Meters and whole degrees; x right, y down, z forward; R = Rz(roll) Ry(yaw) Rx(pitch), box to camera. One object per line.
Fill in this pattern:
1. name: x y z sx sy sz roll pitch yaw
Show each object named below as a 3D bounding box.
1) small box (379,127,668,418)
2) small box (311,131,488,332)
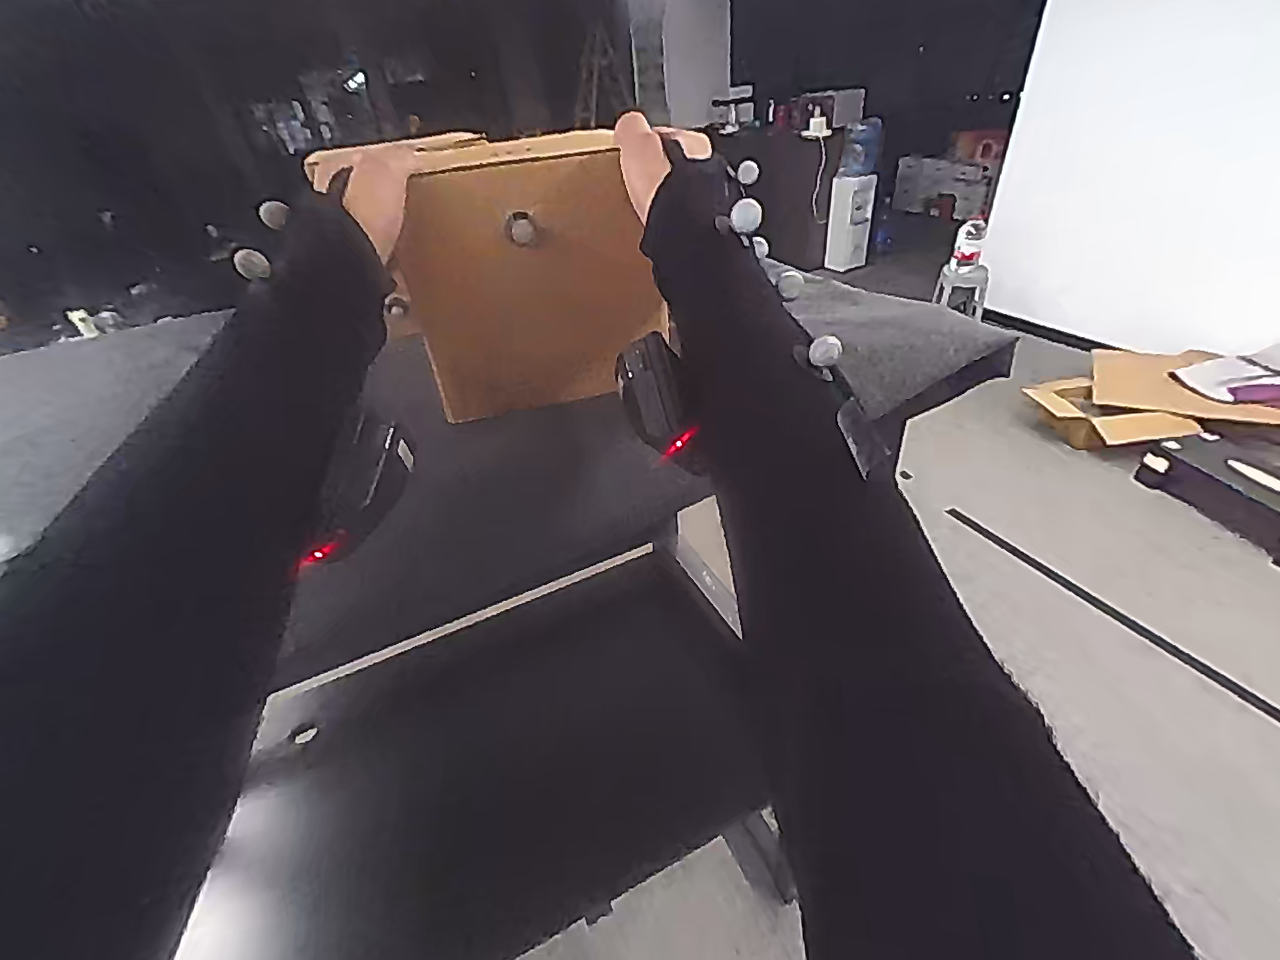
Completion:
1. small box: -0.080 -0.171 0.435 0.179 0.176 0.168 -14 36 -8
2. small box: -0.239 -0.279 0.608 0.168 0.176 0.179 -18 37 -14
